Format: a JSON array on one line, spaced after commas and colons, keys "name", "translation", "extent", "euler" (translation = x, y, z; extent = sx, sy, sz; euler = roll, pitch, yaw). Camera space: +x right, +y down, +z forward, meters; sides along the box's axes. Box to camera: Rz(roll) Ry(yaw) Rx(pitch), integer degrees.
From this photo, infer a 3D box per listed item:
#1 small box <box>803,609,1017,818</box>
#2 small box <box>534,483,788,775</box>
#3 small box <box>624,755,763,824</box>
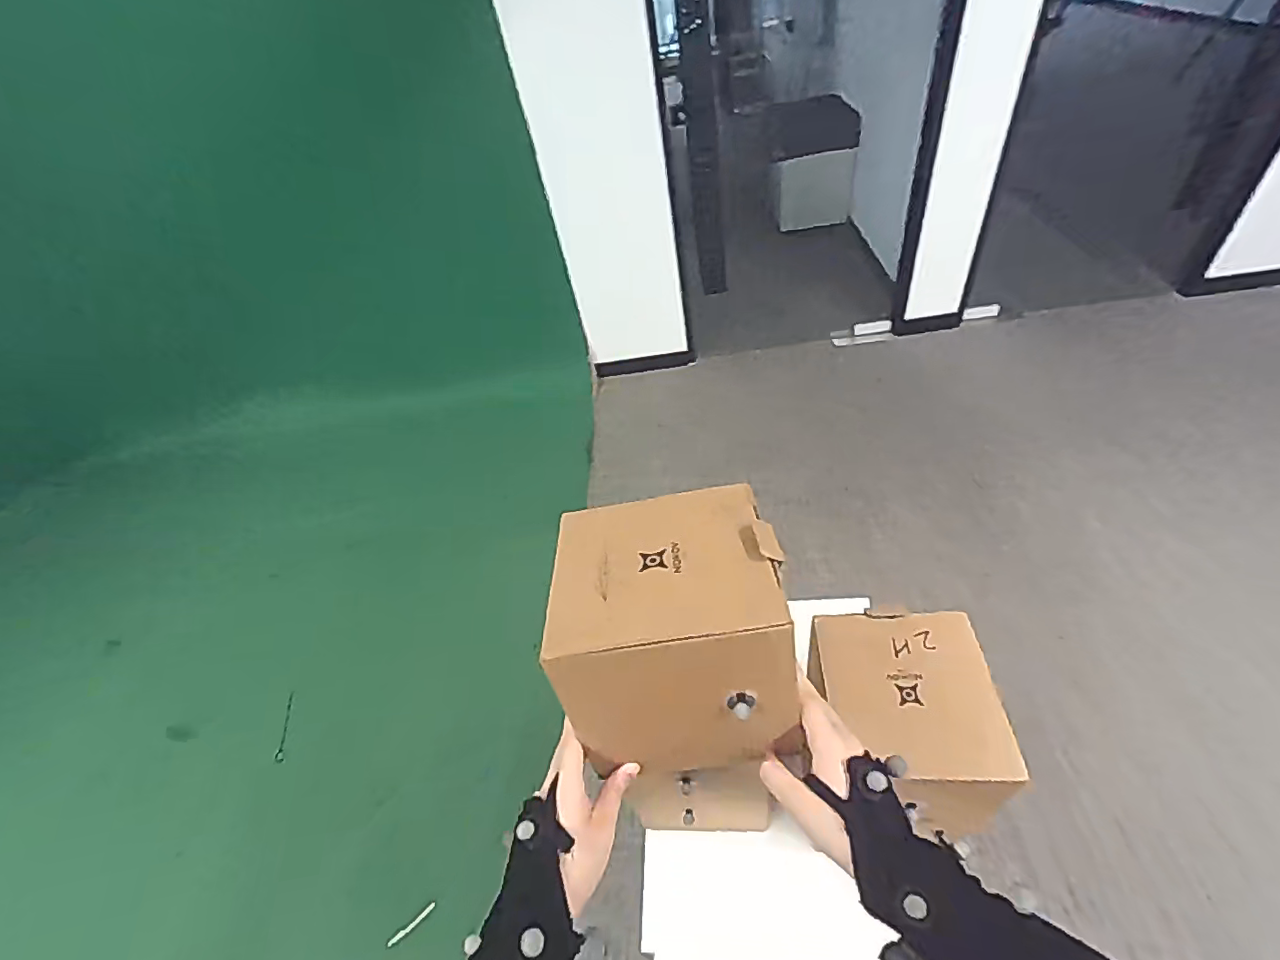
[{"name": "small box", "translation": [0.282, 0.267, 0.612], "extent": [0.168, 0.176, 0.179], "euler": [-4, 46, 10]}, {"name": "small box", "translation": [0.026, 0.129, 0.473], "extent": [0.179, 0.176, 0.168], "euler": [-11, 34, 6]}, {"name": "small box", "translation": [0.080, 0.383, 0.777], "extent": [0.179, 0.176, 0.168], "euler": [-4, 47, 7]}]
